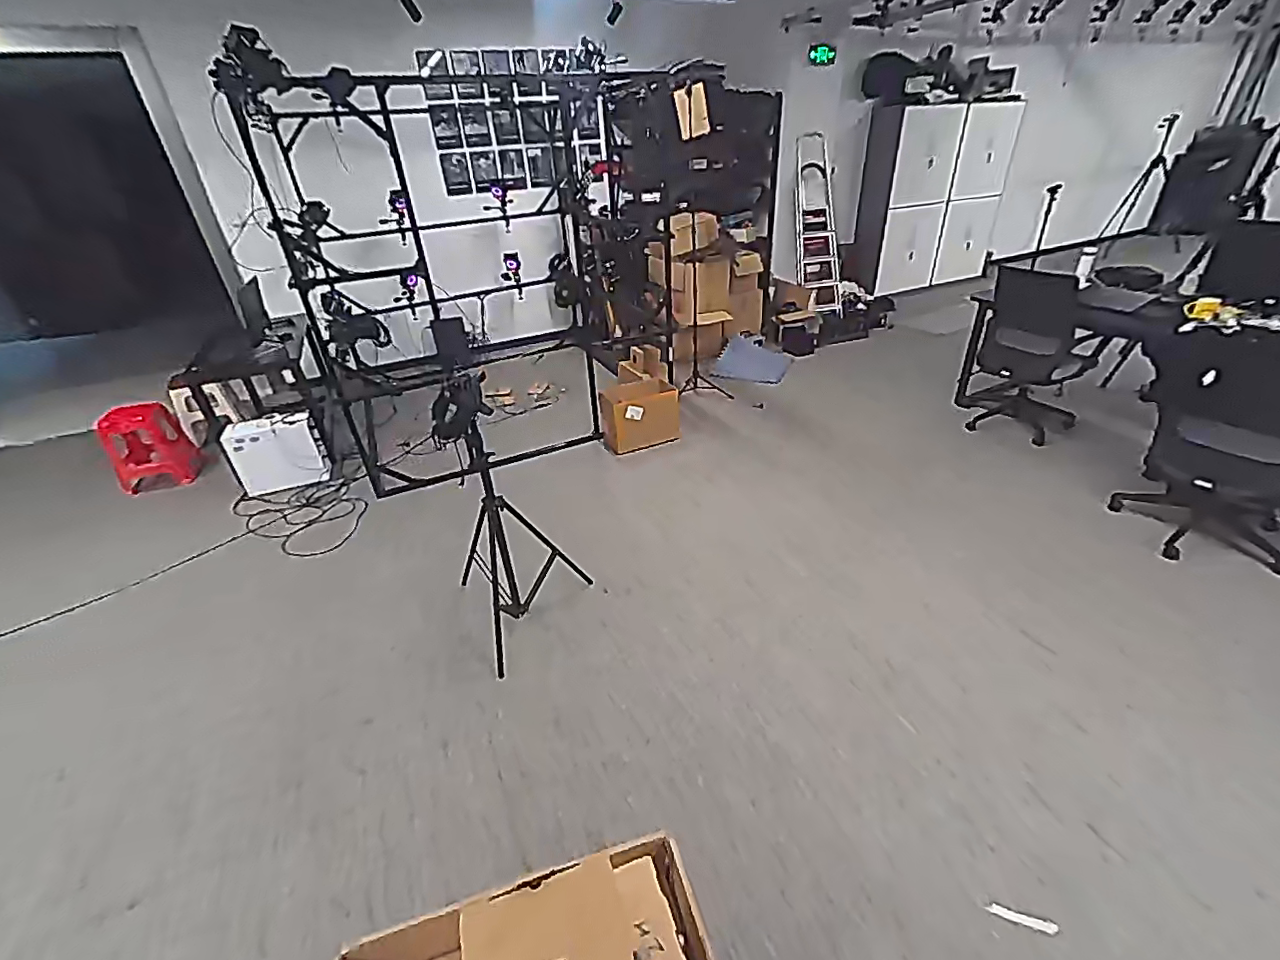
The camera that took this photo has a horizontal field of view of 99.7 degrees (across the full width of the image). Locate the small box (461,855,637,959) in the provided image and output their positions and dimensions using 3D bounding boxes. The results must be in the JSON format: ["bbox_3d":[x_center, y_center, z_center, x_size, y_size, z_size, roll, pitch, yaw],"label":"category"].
[{"bbox_3d":[-0.084,0.547,0.578,0.168,0.176,0.179,-14,45,-11],"label":"small box"}]

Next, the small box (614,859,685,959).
[{"bbox_3d":[-0.030,0.713,0.792,0.179,0.176,0.168,-14,32,-14],"label":"small box"}]
